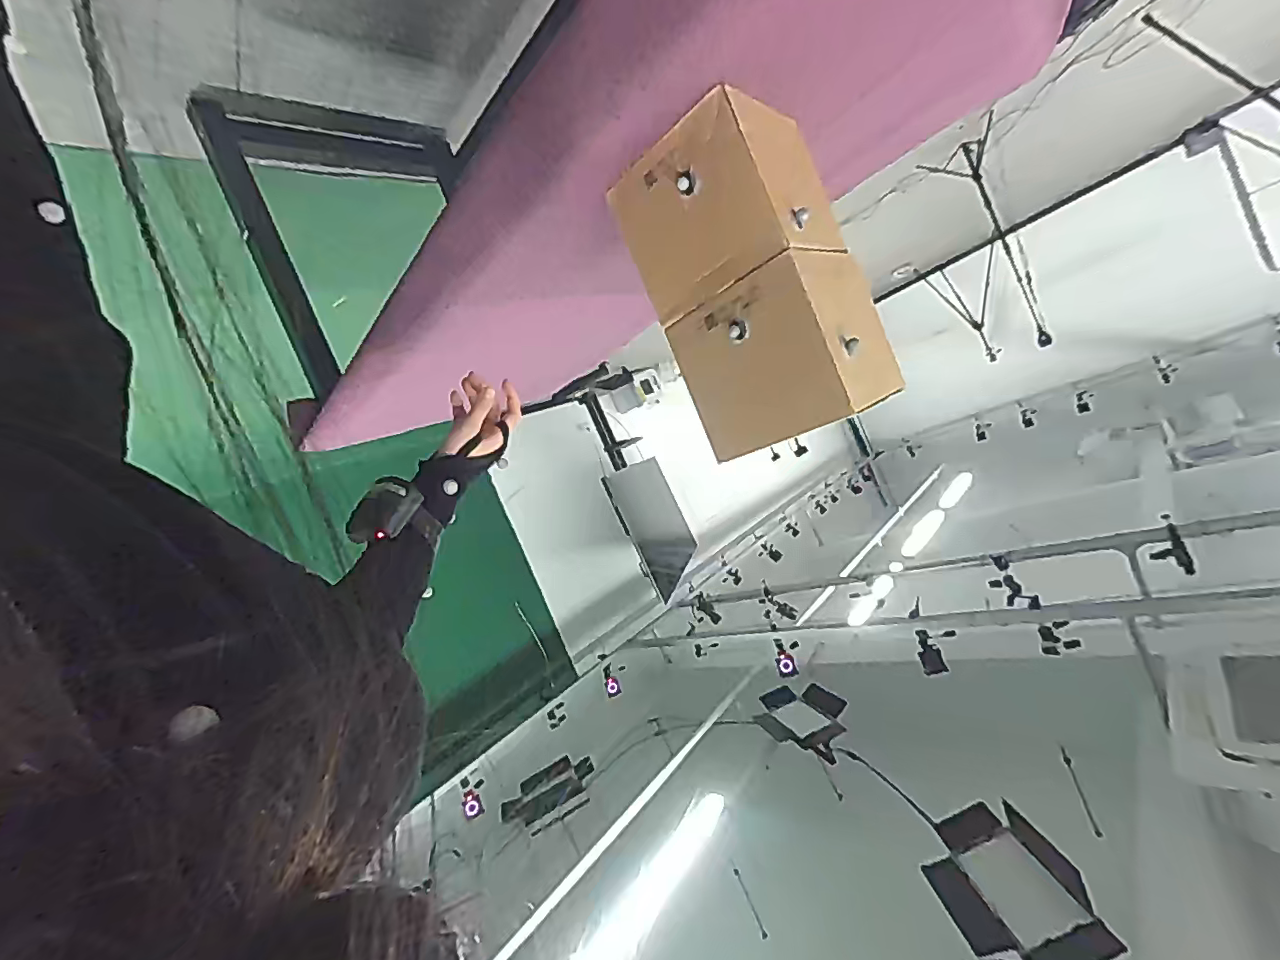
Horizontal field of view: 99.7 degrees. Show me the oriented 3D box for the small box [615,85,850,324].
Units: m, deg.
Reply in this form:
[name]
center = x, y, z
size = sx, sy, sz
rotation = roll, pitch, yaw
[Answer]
[small box]
center = 0.104, -0.295, 0.607
size = 0.168, 0.176, 0.179
rotation = -22, -178, 42
